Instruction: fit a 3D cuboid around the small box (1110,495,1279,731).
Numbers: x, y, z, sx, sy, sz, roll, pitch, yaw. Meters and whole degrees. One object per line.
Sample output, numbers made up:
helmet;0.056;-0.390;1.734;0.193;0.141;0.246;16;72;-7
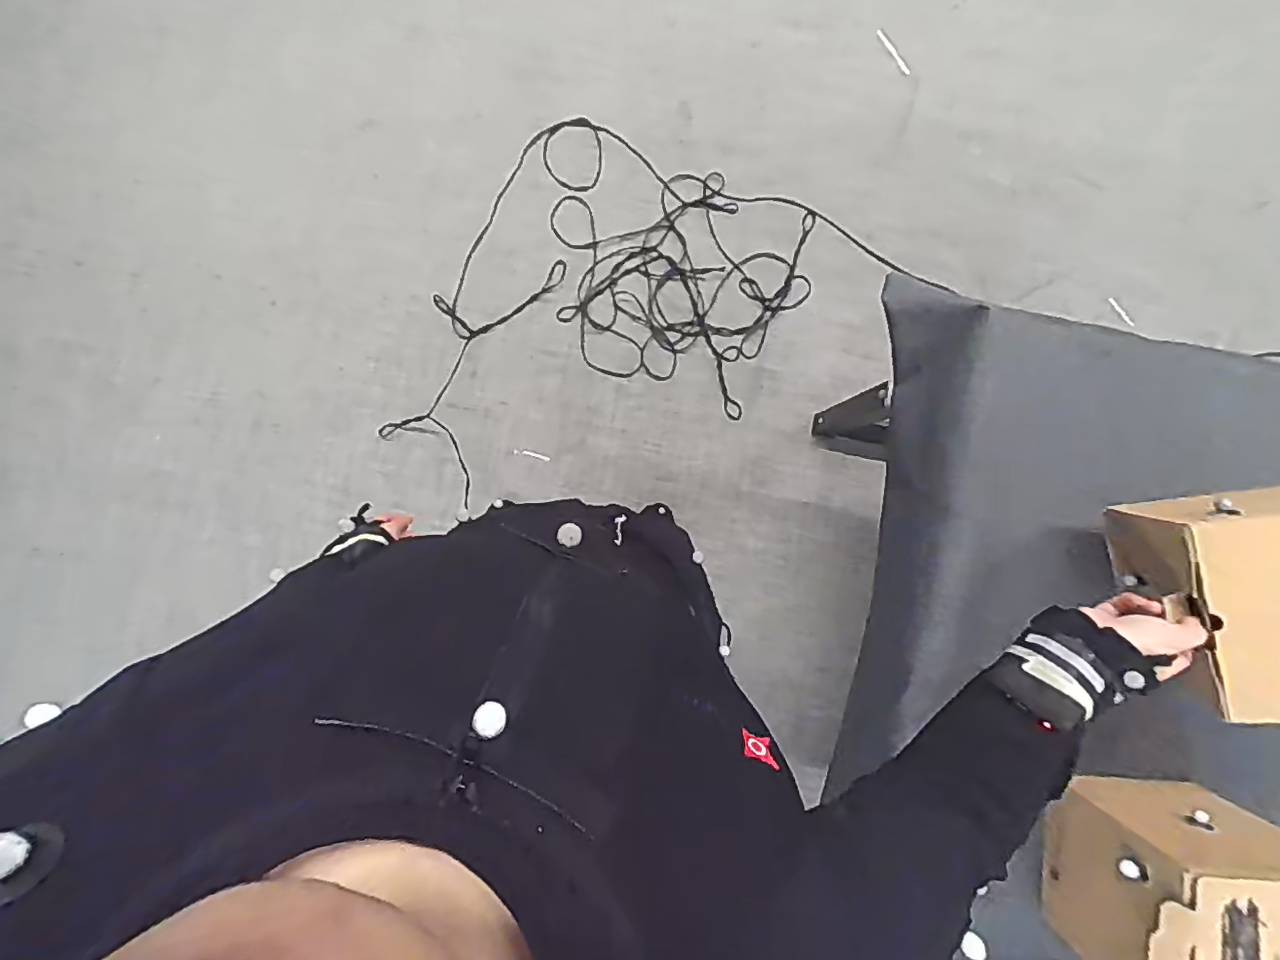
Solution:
small box;0.573;0.105;0.481;0.179;0.176;0.168;-9;89;22
